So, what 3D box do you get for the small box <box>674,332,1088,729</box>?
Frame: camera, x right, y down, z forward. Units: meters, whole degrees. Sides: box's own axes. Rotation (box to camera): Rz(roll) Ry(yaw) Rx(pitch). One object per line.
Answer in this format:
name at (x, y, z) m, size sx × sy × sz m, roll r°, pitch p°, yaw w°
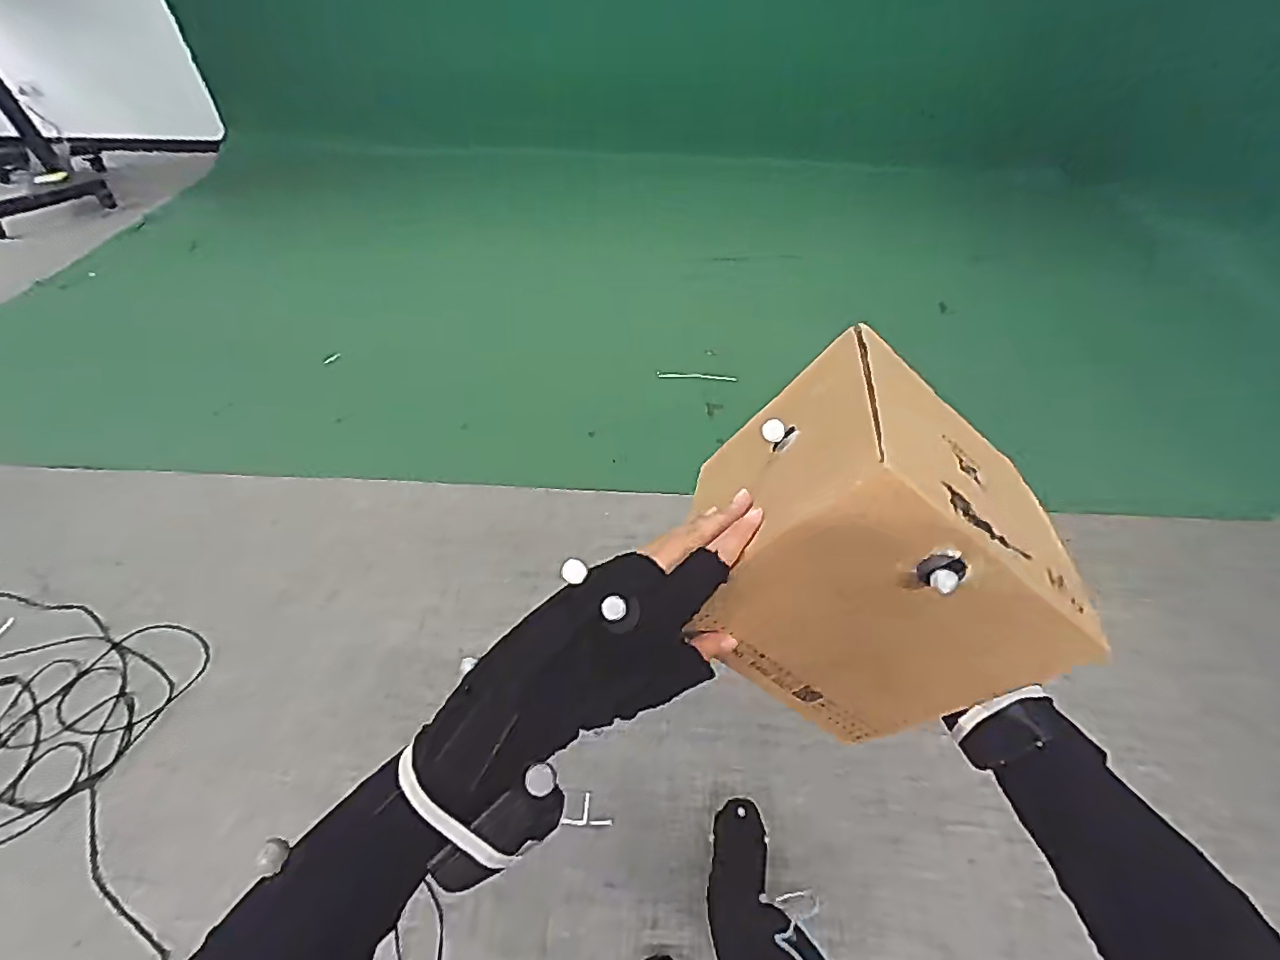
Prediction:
small box at (0.143, 0.037, 0.379) m, size 0.168 × 0.176 × 0.179 m, roll 36°, pitch 37°, yaw -12°
